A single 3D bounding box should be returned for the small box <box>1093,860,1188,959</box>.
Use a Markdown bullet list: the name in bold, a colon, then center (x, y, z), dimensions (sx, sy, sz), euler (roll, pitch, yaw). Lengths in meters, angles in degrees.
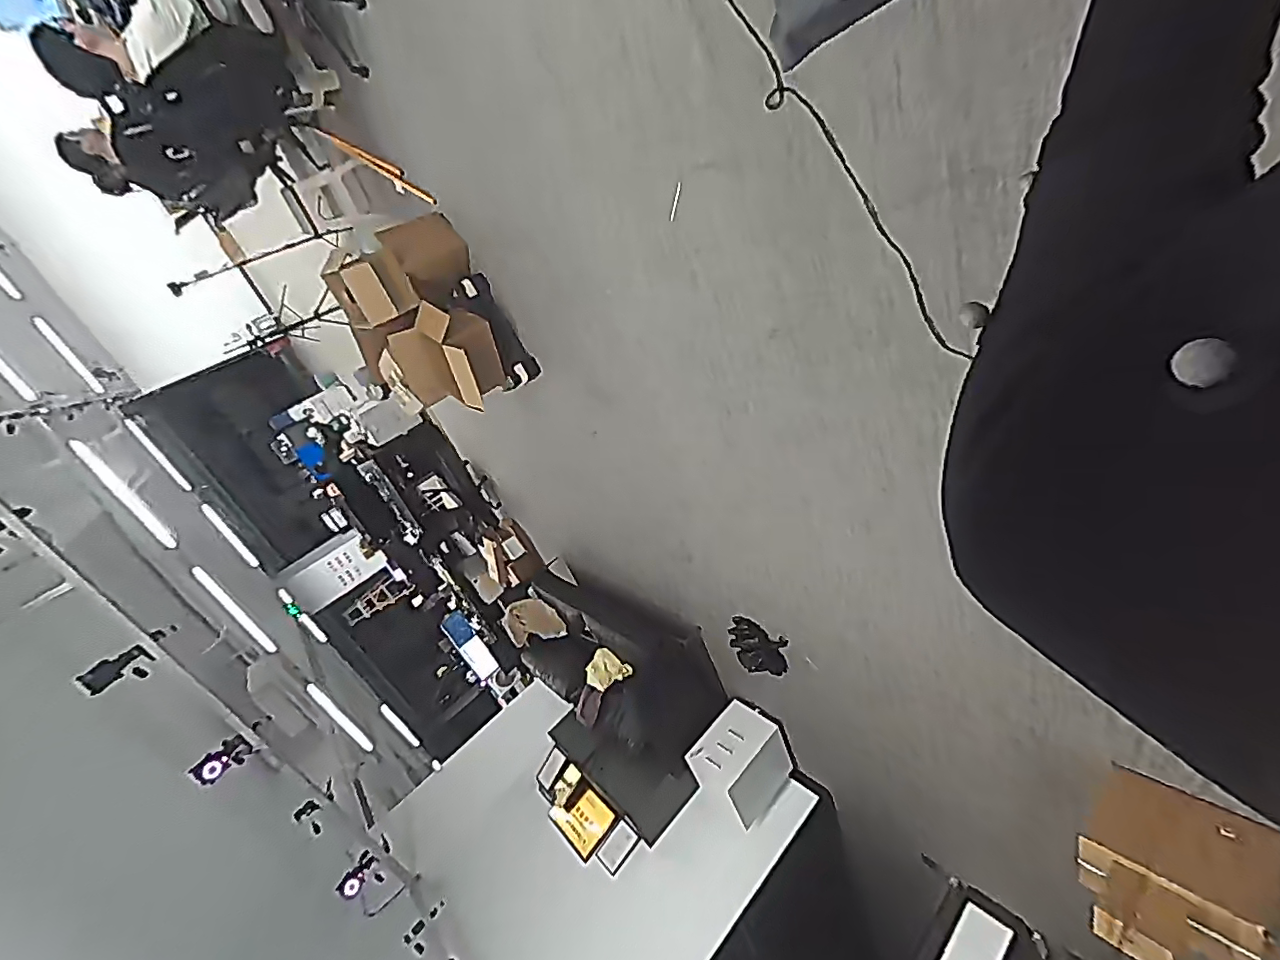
- **small box**: center (1.489, 1.293, 1.610), dimensions (0.179, 0.176, 0.168), euler (15, 134, 52)
